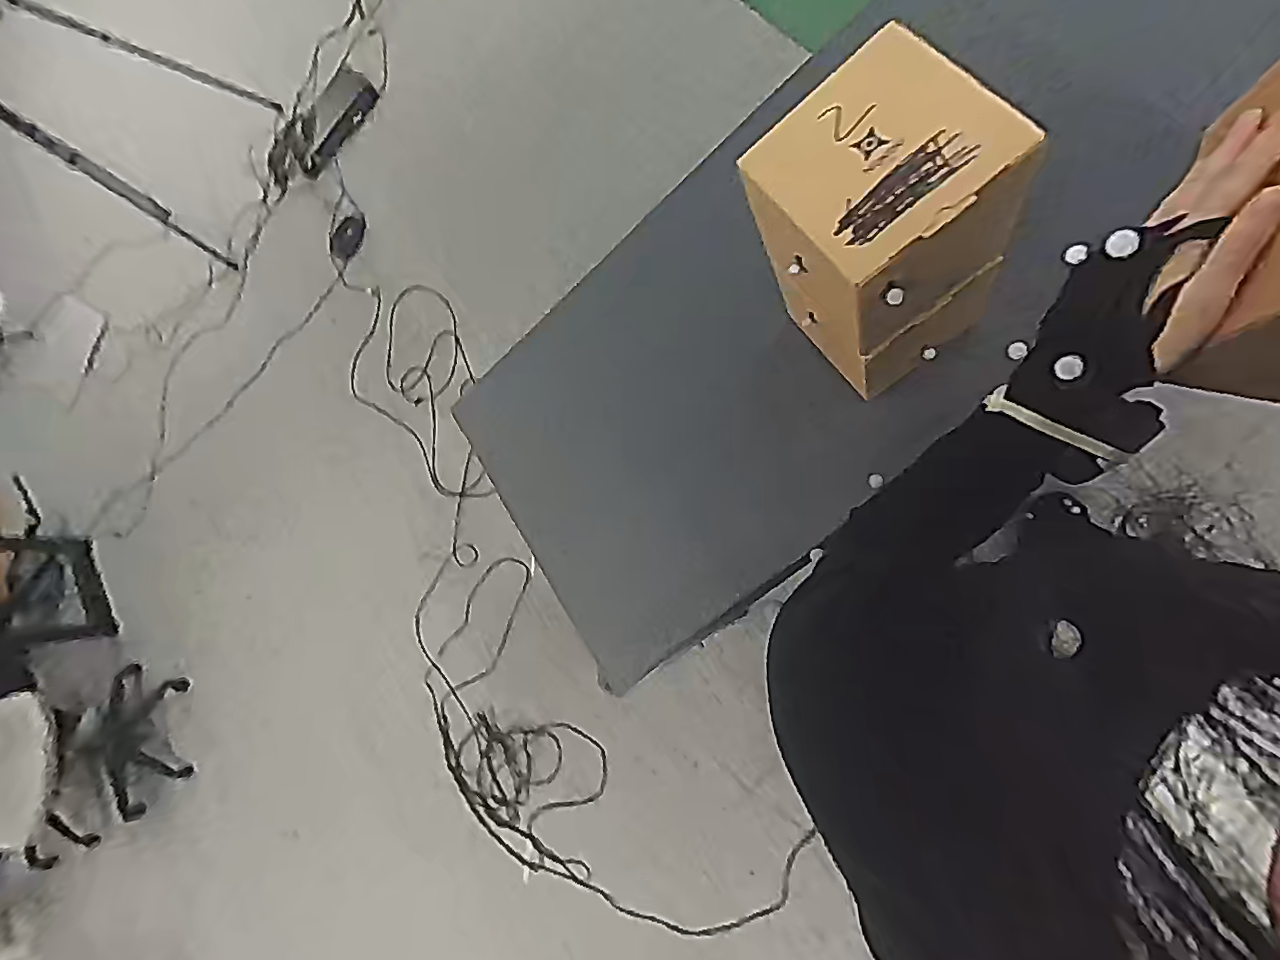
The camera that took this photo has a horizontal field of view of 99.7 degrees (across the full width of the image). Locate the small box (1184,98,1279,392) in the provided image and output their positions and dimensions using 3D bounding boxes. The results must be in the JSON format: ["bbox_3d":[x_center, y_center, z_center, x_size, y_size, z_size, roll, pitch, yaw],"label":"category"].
[{"bbox_3d":[0.415,-0.137,0.247,0.168,0.176,0.179,16,90,17],"label":"small box"}]

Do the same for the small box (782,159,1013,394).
[{"bbox_3d":[0.303,-0.233,0.663,0.168,0.176,0.179,-39,69,14],"label":"small box"}]
